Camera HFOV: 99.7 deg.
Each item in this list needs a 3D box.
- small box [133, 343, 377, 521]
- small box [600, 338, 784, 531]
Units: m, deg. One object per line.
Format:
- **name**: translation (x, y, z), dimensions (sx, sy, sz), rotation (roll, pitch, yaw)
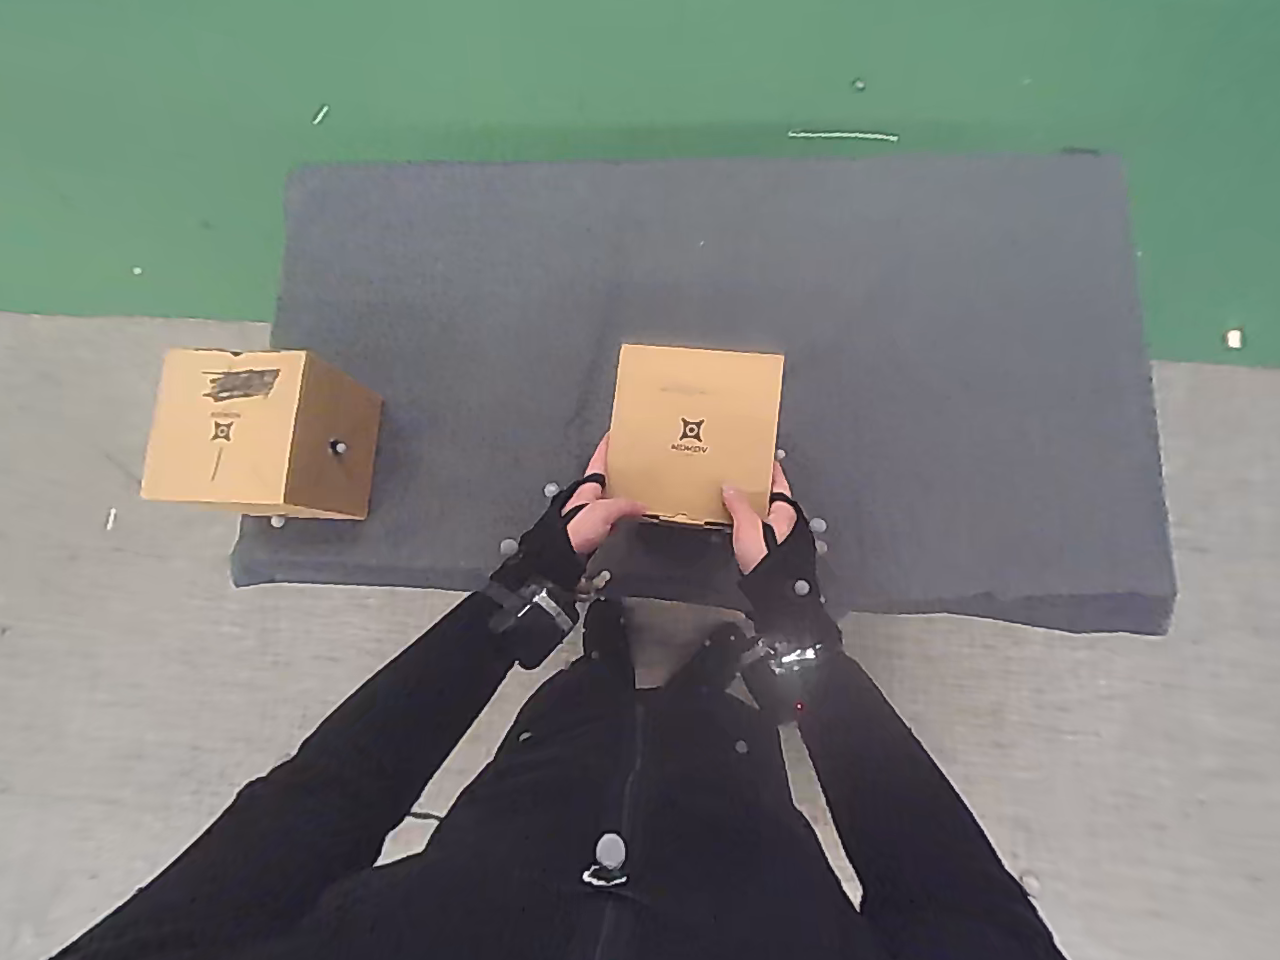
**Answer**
- **small box**: translation (-0.448, -0.050, 0.662), dimensions (0.168, 0.176, 0.179), rotation (2, 80, 3)
- **small box**: translation (0.060, -0.039, 0.603), dimensions (0.168, 0.176, 0.179), rotation (6, 82, 7)
